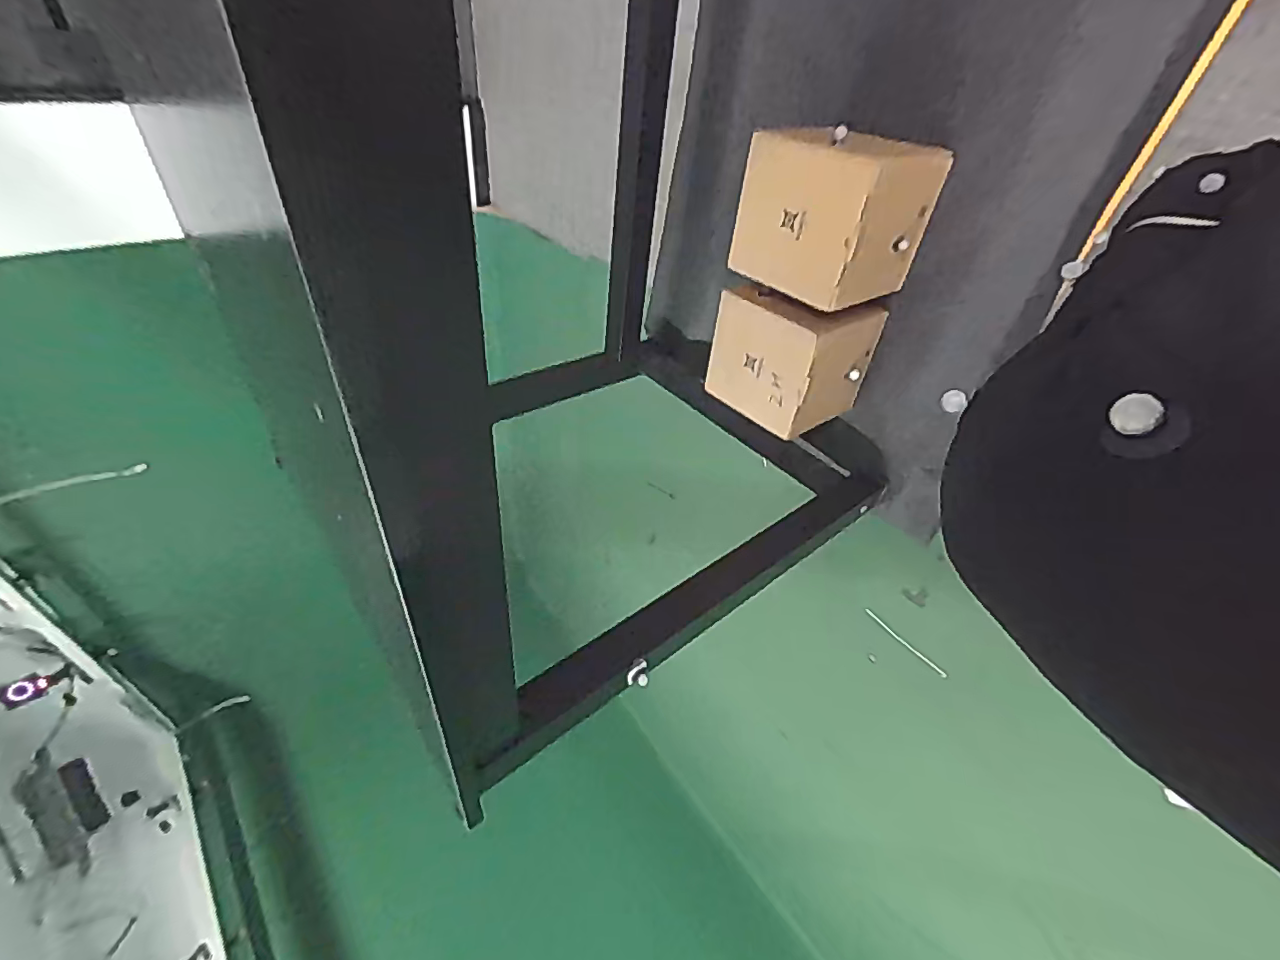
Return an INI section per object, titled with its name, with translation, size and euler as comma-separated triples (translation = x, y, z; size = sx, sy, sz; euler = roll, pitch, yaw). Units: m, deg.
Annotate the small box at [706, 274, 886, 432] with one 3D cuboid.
[small box]
translation = 0.230, -0.202, 0.821
size = 0.179, 0.176, 0.168
euler = 40, 141, 34
